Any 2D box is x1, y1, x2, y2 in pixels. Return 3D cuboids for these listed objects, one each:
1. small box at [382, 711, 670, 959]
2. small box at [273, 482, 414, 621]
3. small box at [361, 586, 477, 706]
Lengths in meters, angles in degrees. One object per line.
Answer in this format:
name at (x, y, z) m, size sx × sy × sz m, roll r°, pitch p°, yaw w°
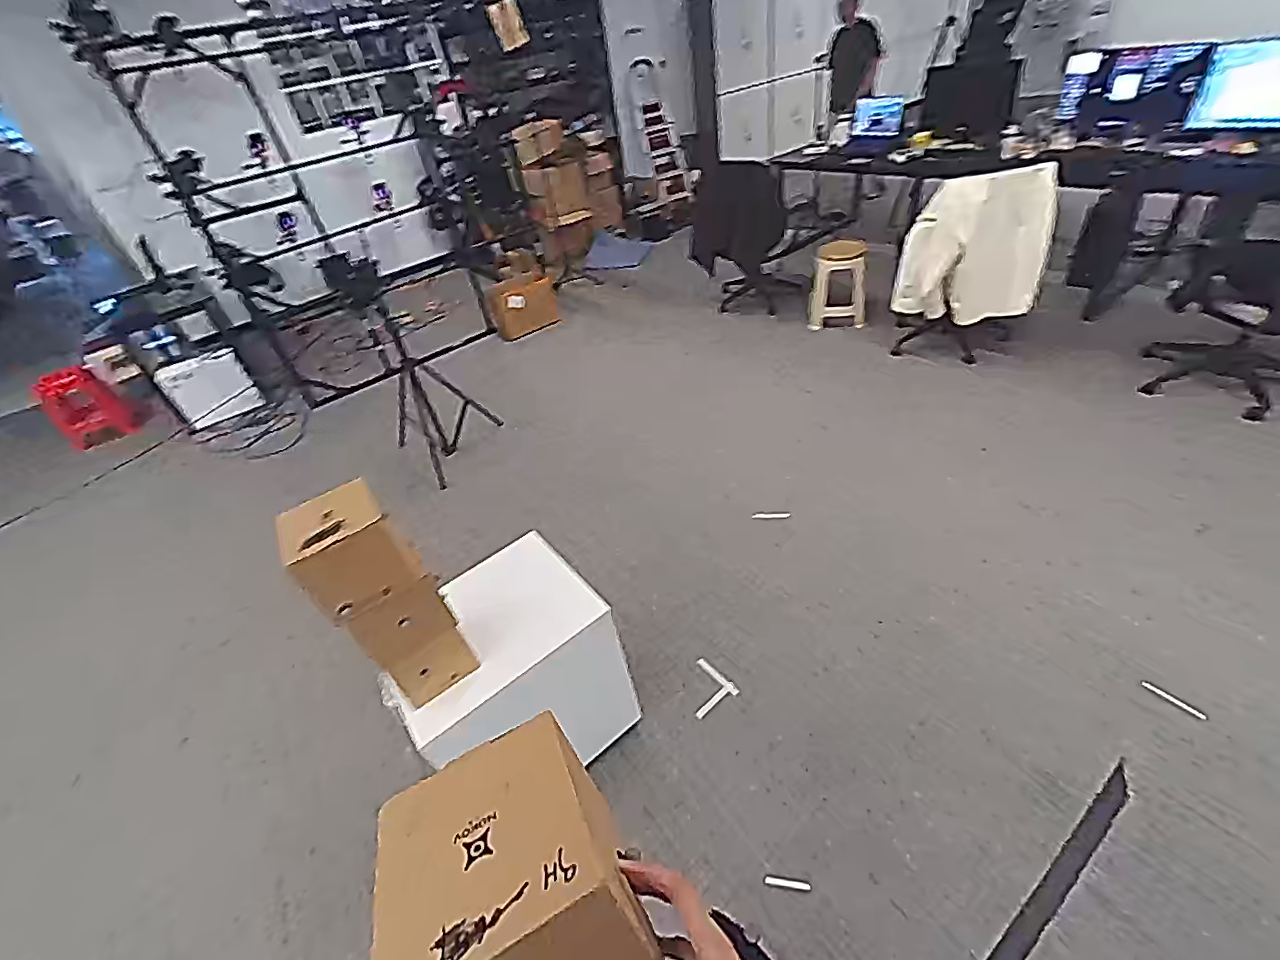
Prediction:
small box at (-0.093, 0.347, 0.456) m, size 0.168 × 0.176 × 0.179 m, roll -26°, pitch 26°, yaw -12°
small box at (-0.554, 0.140, 1.021) m, size 0.168 × 0.176 × 0.179 m, roll -30°, pitch 41°, yaw -21°
small box at (-0.500, 0.384, 1.235) m, size 0.168 × 0.176 × 0.179 m, roll -32°, pitch 43°, yaw -24°
